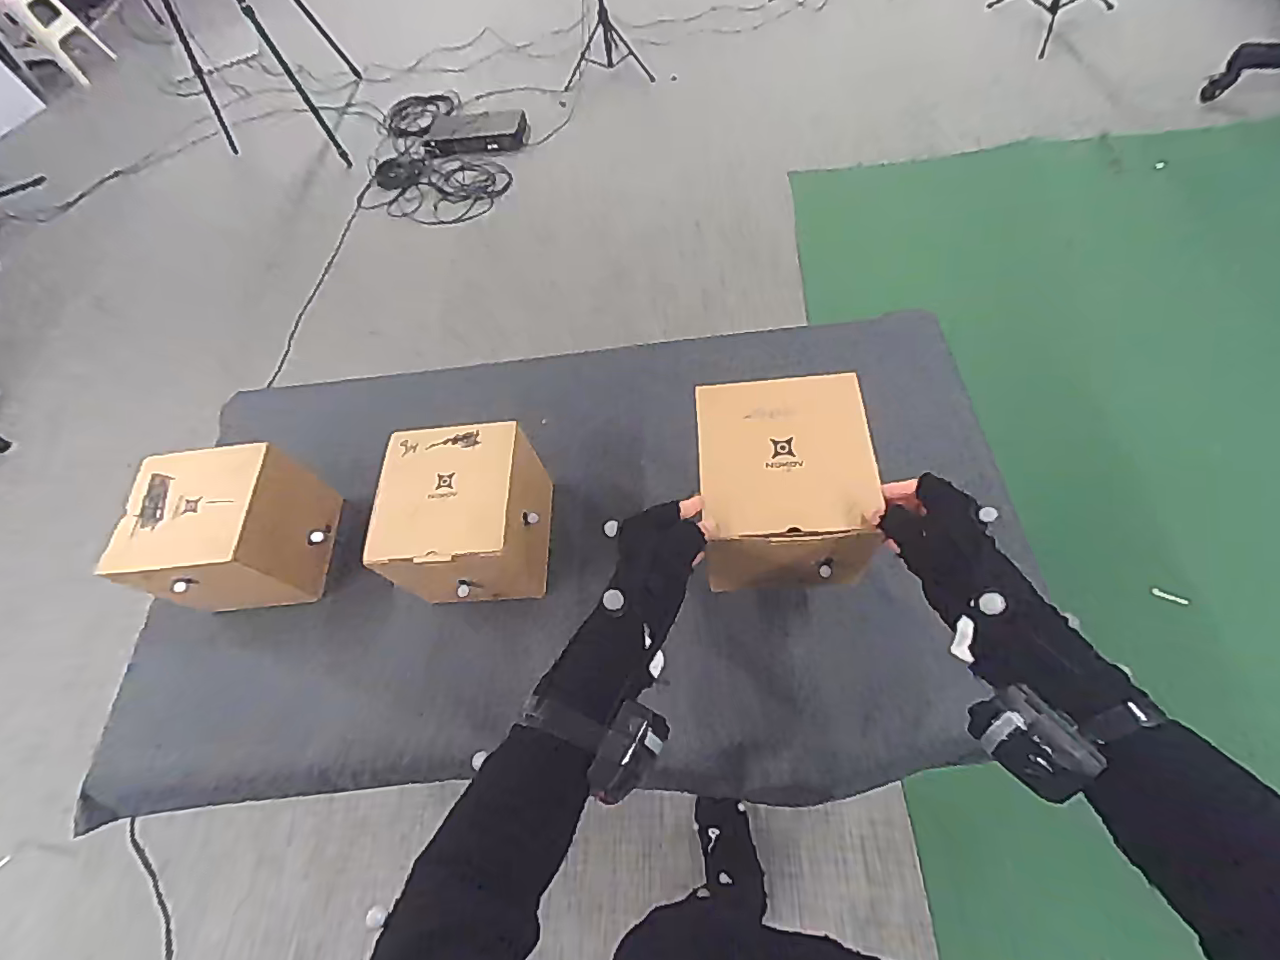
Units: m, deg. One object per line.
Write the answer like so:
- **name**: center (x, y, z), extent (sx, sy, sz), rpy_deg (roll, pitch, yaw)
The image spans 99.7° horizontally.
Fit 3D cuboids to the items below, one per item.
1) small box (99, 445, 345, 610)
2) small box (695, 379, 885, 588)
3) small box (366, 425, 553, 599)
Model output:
- **small box**: center (-0.546, 0.072, 0.736), extent (0.179, 0.176, 0.168), rpy_deg (-6, 61, 4)
- **small box**: center (0.151, 0.015, 0.595), extent (0.168, 0.176, 0.179), rpy_deg (-4, 60, 7)
- **small box**: center (-0.216, 0.051, 0.702), extent (0.168, 0.176, 0.179), rpy_deg (-4, 62, 6)
